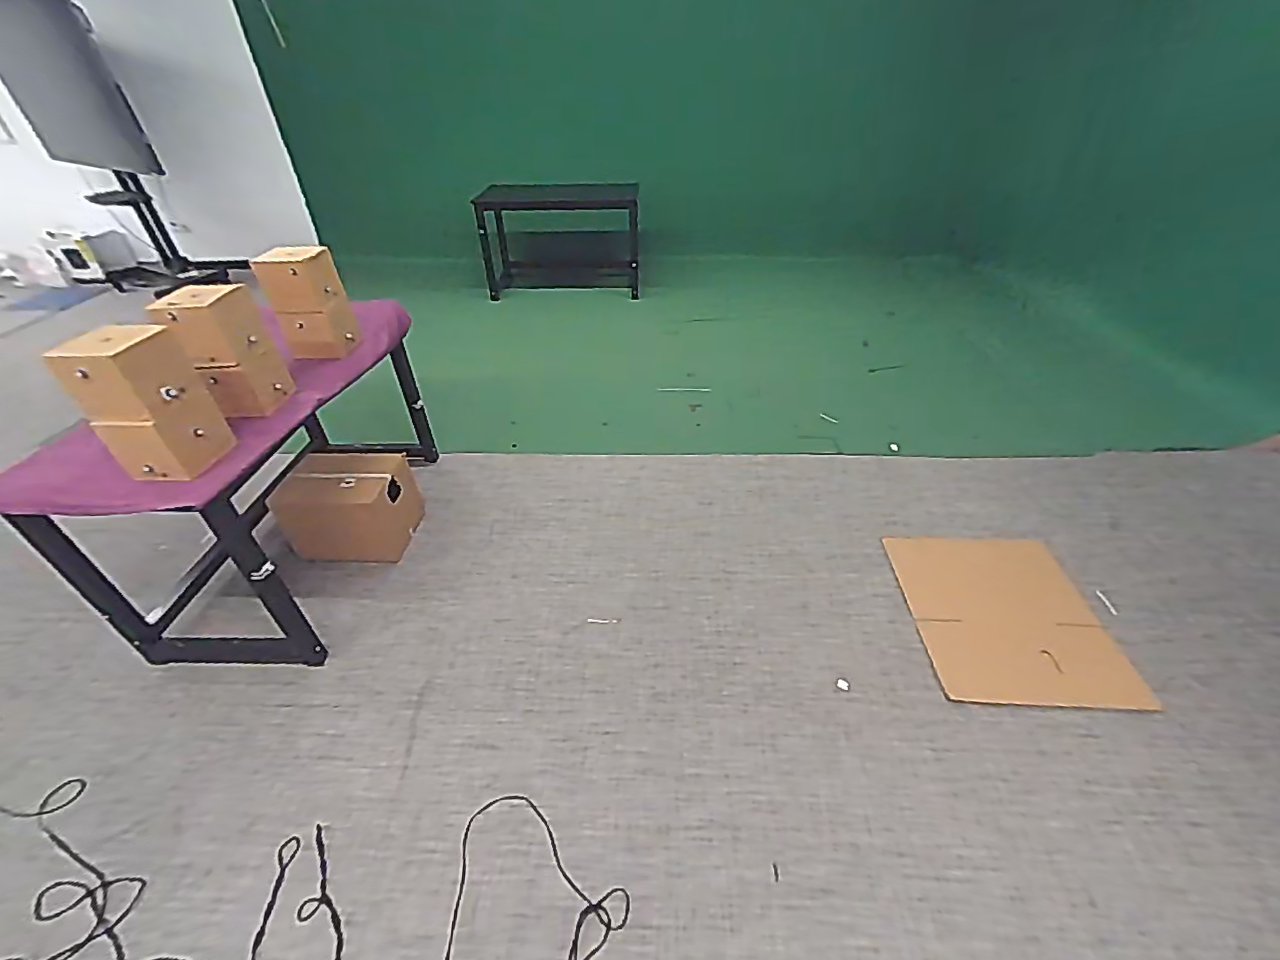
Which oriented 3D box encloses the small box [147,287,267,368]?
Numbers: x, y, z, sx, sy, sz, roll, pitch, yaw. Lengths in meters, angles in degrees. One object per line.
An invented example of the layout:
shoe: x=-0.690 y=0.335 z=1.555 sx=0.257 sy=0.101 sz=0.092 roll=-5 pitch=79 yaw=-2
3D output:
small box: x=-1.173 y=-0.420 z=1.488 sx=0.168 sy=0.176 sz=0.179 roll=-2 pitch=37 yaw=2

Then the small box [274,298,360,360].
small box: x=-1.125 y=-0.531 z=1.900 sx=0.179 sy=0.176 sz=0.168 roll=1 pitch=38 yaw=2

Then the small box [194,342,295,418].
small box: x=-1.170 y=-0.291 z=1.589 sx=0.179 sy=0.176 sz=0.168 roll=-1 pitch=38 yaw=2

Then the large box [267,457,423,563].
large box: x=-1.144 y=0.117 z=2.145 sx=0.408 sy=0.320 sz=0.320 roll=1 pitch=38 yaw=2

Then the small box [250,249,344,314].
small box: x=-1.134 y=-0.660 z=1.802 sx=0.179 sy=0.176 sz=0.168 roll=0 pitch=38 yaw=2

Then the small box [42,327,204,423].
small box: x=-1.192 y=-0.246 z=1.264 sx=0.179 sy=0.176 sz=0.168 roll=2 pitch=39 yaw=5
